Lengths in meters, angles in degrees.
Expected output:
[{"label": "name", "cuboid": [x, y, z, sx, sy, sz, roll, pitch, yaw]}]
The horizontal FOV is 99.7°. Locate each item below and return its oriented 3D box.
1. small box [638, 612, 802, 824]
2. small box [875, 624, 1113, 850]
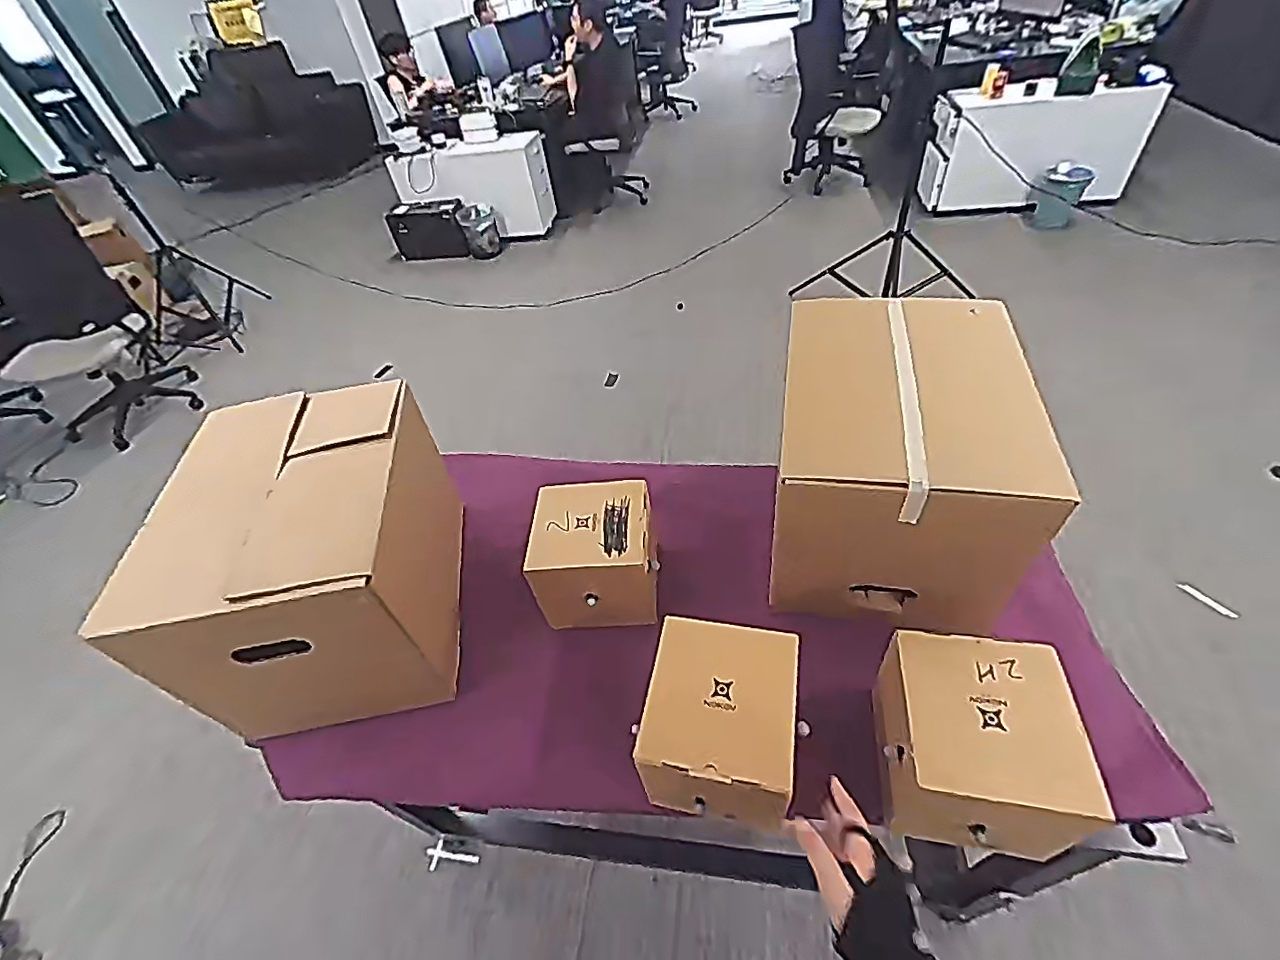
[{"label": "small box", "cuboid": [0.103, 0.290, 0.664, 0.168, 0.176, 0.179, 5, 48, 14]}, {"label": "small box", "cuboid": [0.373, 0.291, 0.613, 0.168, 0.176, 0.179, 3, 45, 13]}]
